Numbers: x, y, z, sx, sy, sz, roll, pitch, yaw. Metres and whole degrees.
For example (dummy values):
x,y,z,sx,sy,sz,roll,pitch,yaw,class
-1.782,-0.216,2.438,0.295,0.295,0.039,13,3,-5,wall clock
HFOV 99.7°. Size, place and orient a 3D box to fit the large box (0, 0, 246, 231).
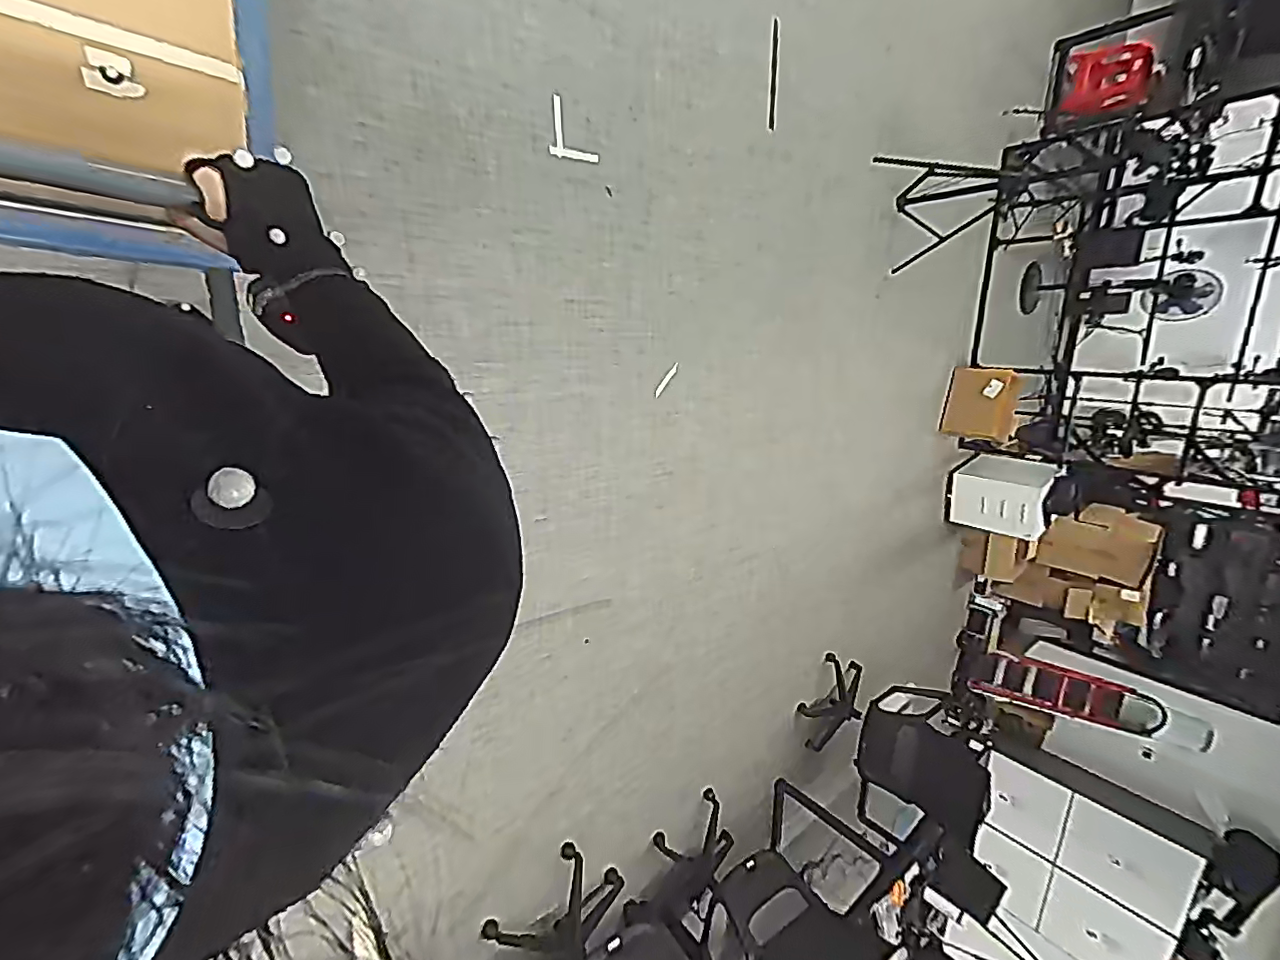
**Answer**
x,y,z,sx,sy,sz,roll,pitch,yaw,class
-0.820,-0.562,0.740,0.408,0.320,0.320,-8,107,-41,large box
